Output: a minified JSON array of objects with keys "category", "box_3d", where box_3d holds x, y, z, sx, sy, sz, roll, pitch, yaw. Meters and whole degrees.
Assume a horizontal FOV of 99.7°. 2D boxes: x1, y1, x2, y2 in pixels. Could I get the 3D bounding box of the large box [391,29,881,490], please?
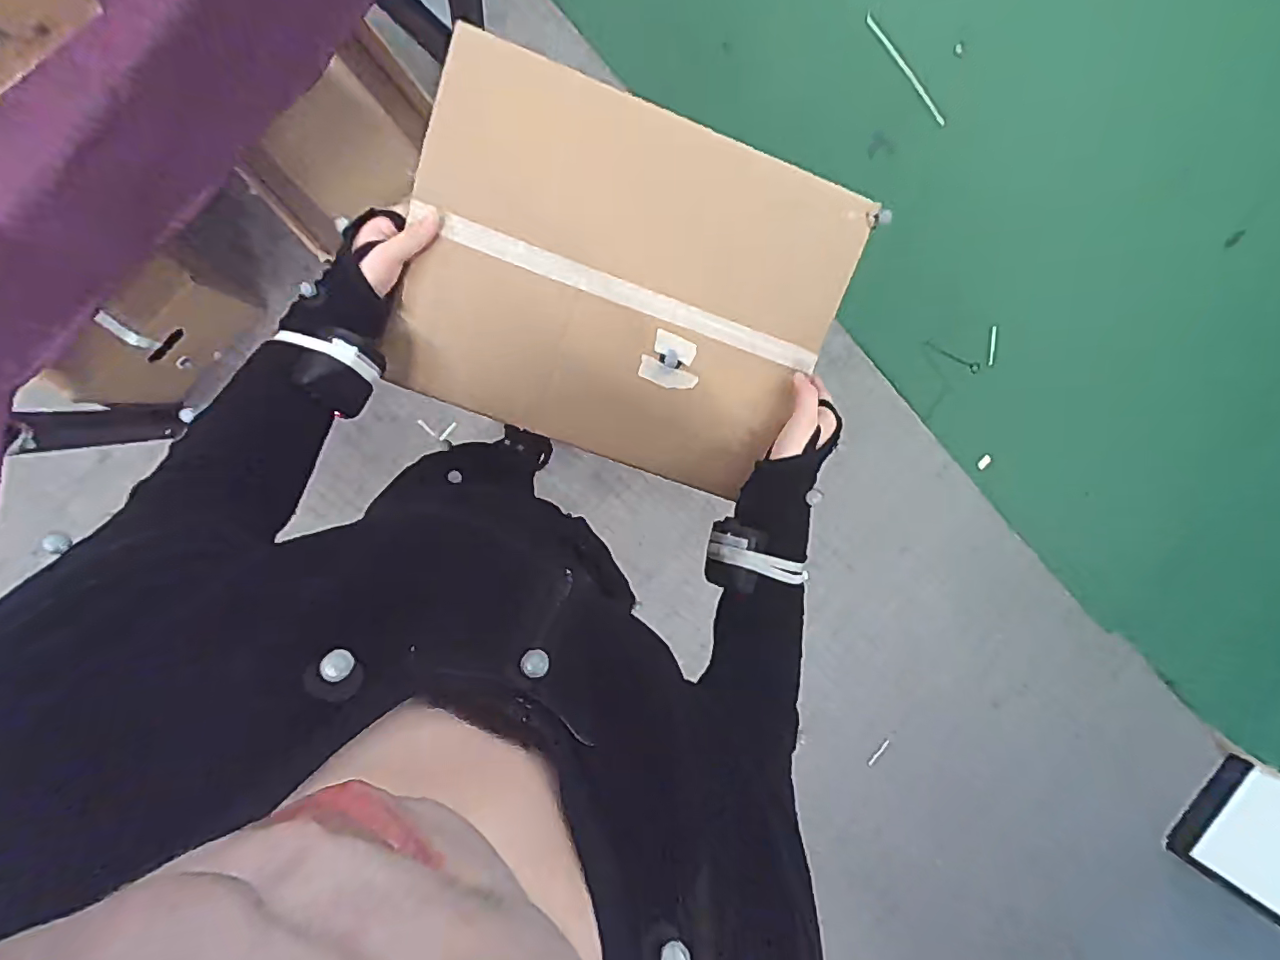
[{"category":"large box","box_3d":[-0.016,-0.222,0.657,0.408,0.320,0.320,19,103,-8]}]
